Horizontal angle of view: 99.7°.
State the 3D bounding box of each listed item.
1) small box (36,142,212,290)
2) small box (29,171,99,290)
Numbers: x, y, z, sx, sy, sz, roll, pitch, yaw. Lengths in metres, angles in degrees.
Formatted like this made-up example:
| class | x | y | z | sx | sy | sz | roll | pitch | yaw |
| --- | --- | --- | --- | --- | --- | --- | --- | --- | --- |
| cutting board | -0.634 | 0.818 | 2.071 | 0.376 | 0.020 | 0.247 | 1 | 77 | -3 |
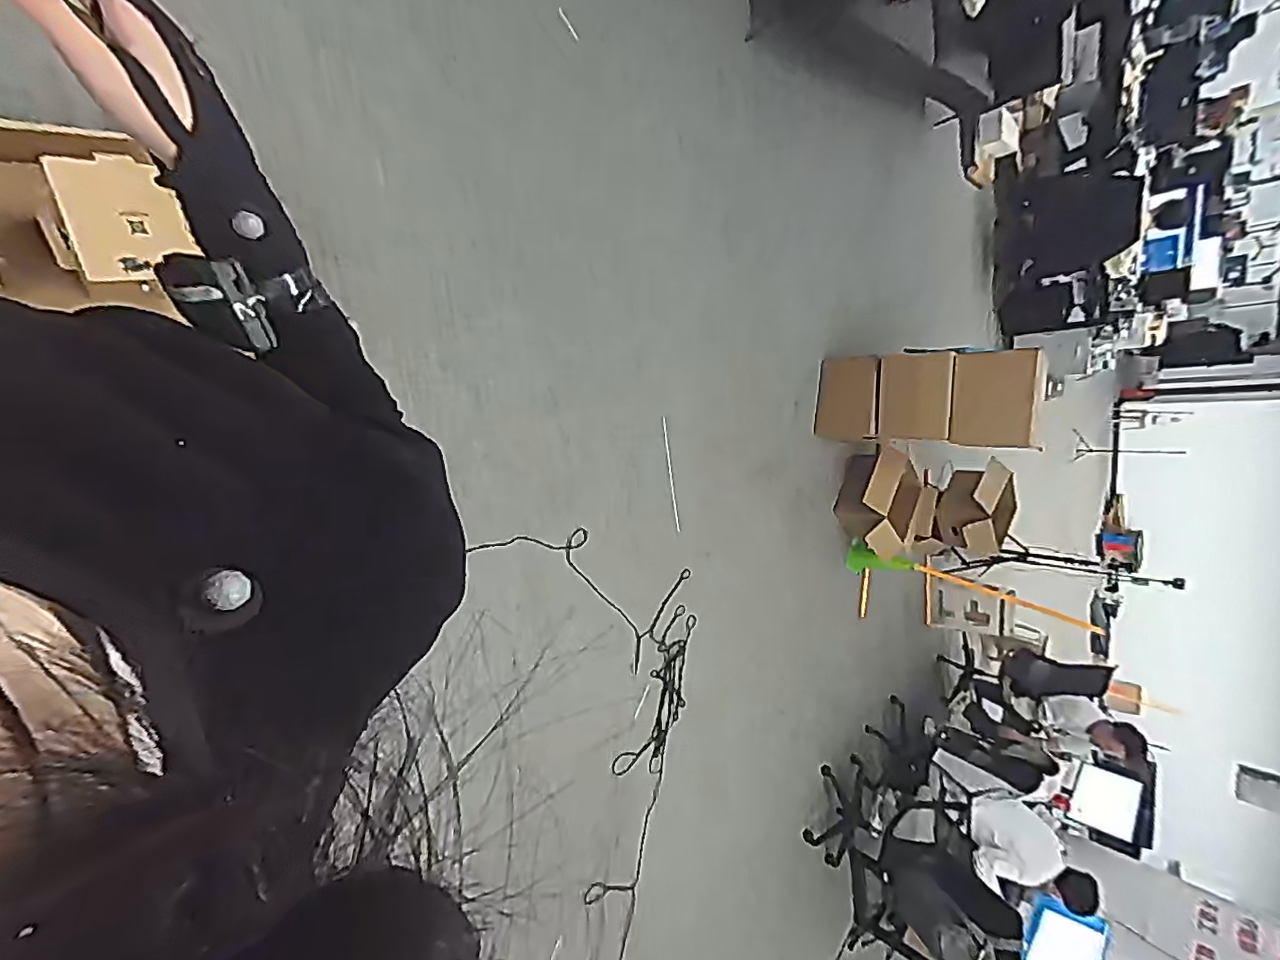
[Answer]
| class | x | y | z | sx | sy | sz | roll | pitch | yaw |
| --- | --- | --- | --- | --- | --- | --- | --- | --- | --- |
| small box | -0.841 | -0.422 | 0.893 | 0.168 | 0.176 | 0.179 | -20 | 108 | -39 |
| small box | -0.960 | -0.457 | 1.002 | 0.179 | 0.176 | 0.168 | -25 | 112 | -38 |
